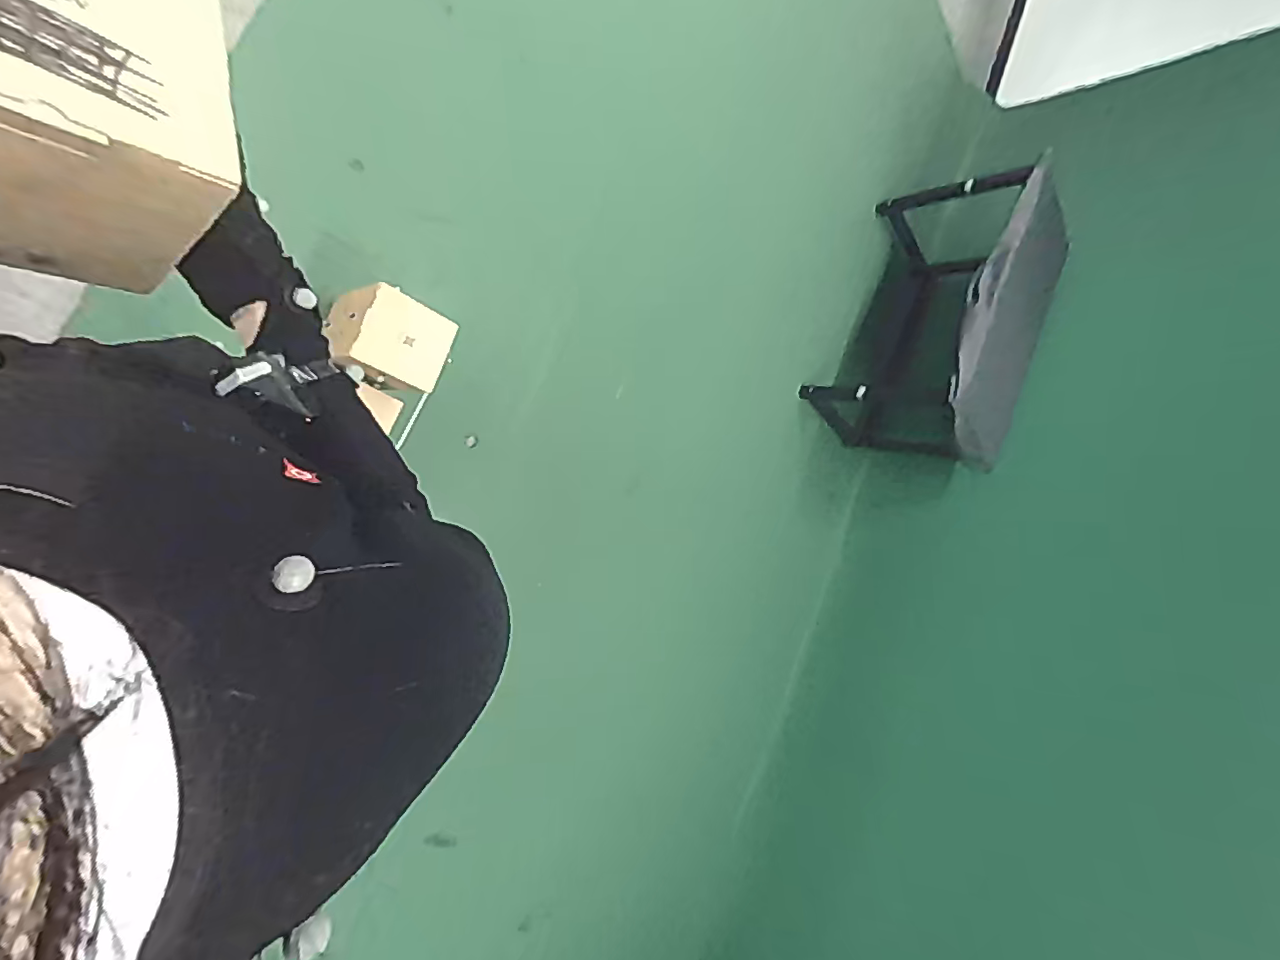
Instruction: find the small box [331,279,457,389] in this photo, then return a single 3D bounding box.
[{"bbox_3d":[-0.537,-0.313,1.178,0.179,0.176,0.168,25,82,-41],"label":"small box"}]
